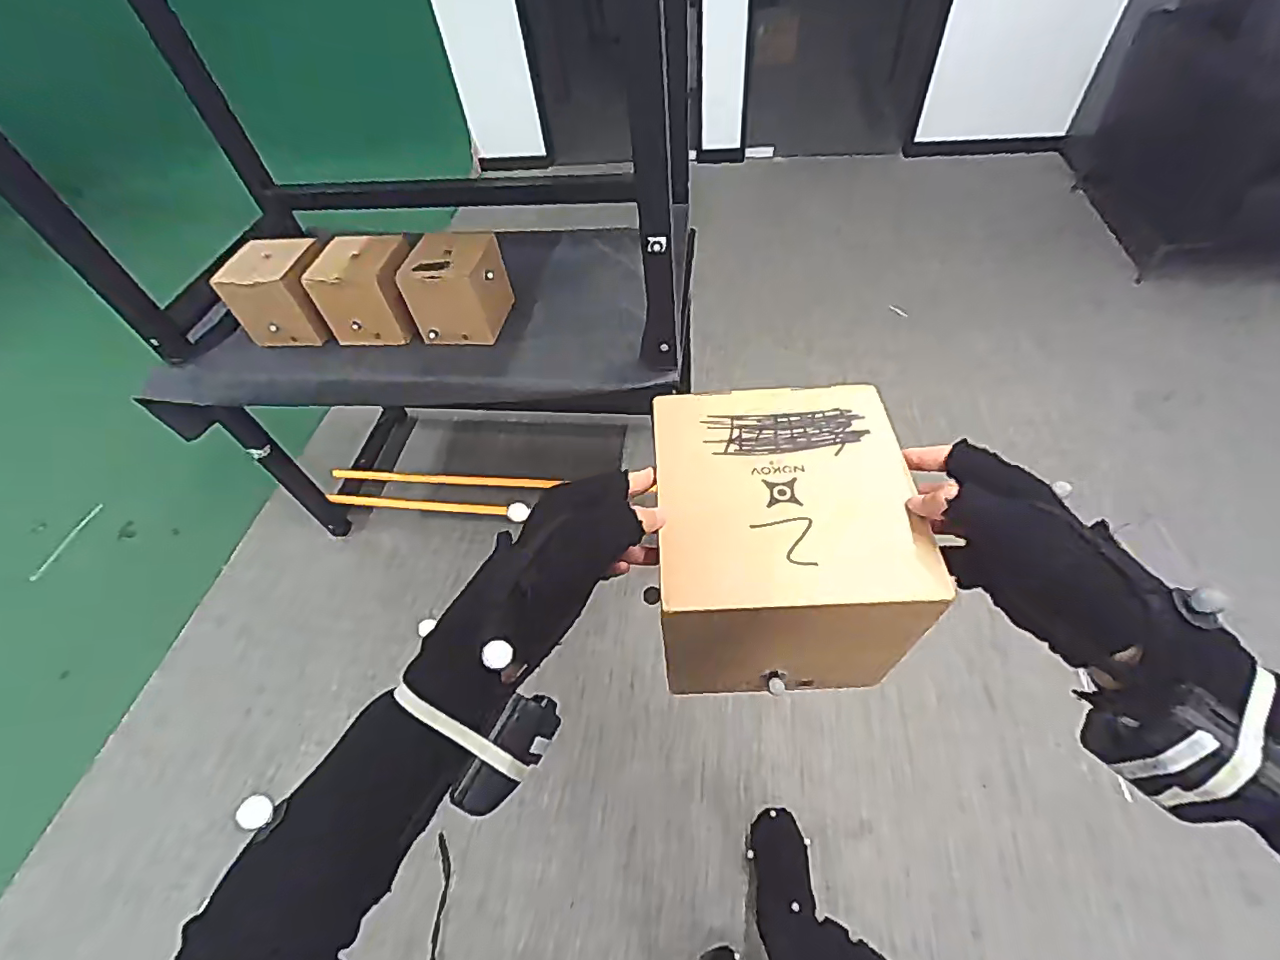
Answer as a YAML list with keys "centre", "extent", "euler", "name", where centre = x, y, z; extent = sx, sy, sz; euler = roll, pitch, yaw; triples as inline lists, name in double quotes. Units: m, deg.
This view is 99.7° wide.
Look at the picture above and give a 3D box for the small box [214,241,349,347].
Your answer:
- centre: [-0.809, -0.429, 1.248]
  extent: [0.168, 0.176, 0.179]
  euler: [1, 52, 7]
  name: "small box"
